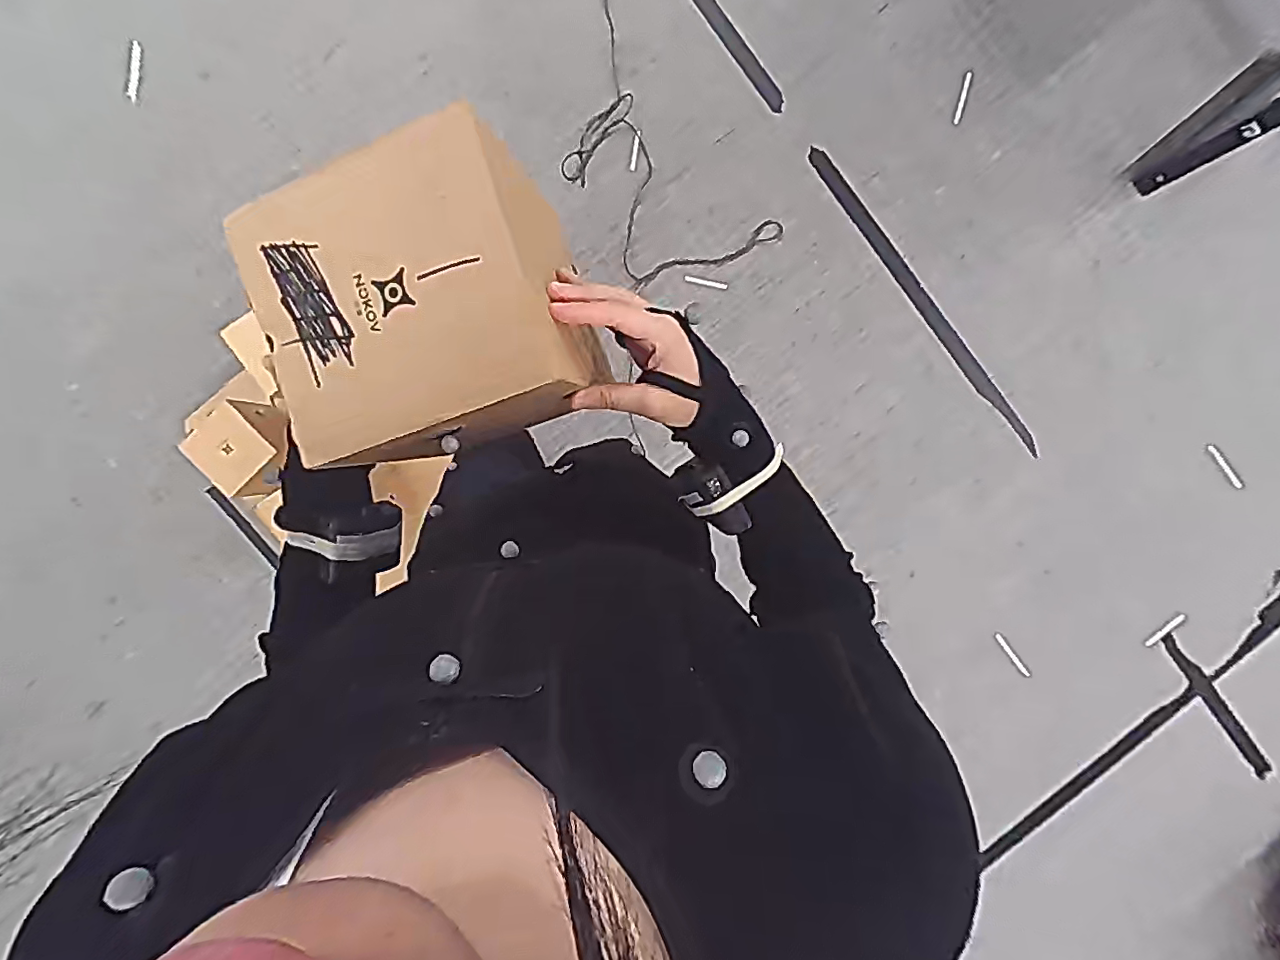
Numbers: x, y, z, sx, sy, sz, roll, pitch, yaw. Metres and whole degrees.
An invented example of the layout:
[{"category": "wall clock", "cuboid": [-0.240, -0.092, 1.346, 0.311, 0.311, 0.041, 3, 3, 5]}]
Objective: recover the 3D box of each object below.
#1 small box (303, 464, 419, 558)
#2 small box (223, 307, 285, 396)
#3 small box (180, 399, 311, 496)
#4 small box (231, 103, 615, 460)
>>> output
[{"category": "small box", "cuboid": [-0.695, 0.069, 1.372, 0.168, 0.176, 0.179, -30, 94, -1]}, {"category": "small box", "cuboid": [-0.746, -0.287, 1.195, 0.179, 0.176, 0.168, -35, 93, -1]}, {"category": "small box", "cuboid": [-0.975, -0.078, 1.359, 0.168, 0.176, 0.179, -44, 92, 1]}, {"category": "small box", "cuboid": [-0.136, -0.117, 0.398, 0.179, 0.176, 0.168, -16, 92, 11]}]
